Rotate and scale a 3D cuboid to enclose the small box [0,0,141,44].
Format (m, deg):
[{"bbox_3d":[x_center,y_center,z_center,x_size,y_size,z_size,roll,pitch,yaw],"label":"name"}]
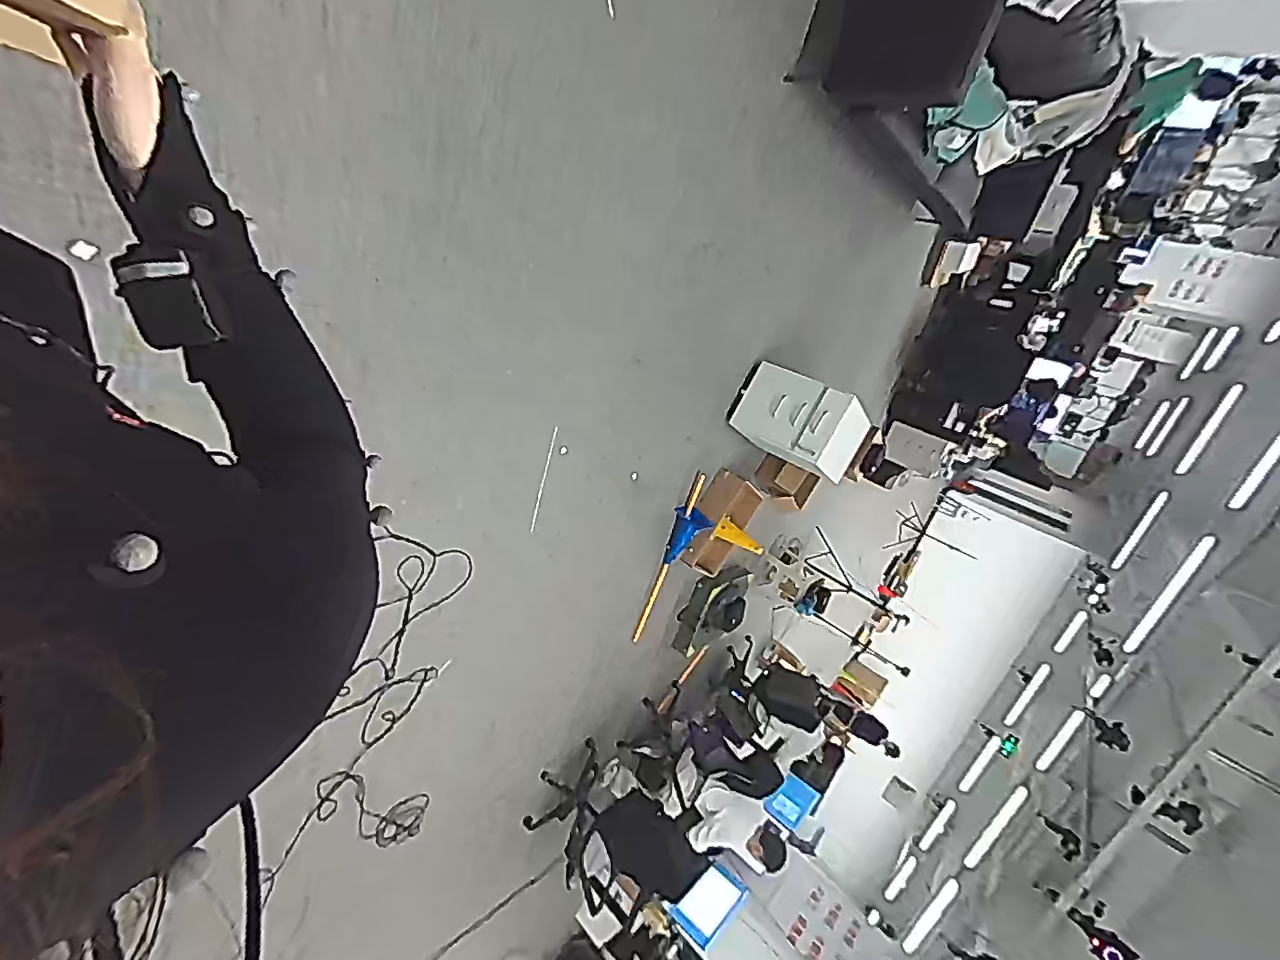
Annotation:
[{"bbox_3d":[-0.355,-0.343,0.242,0.179,0.176,0.168,-1,114,-57],"label":"small box"}]
